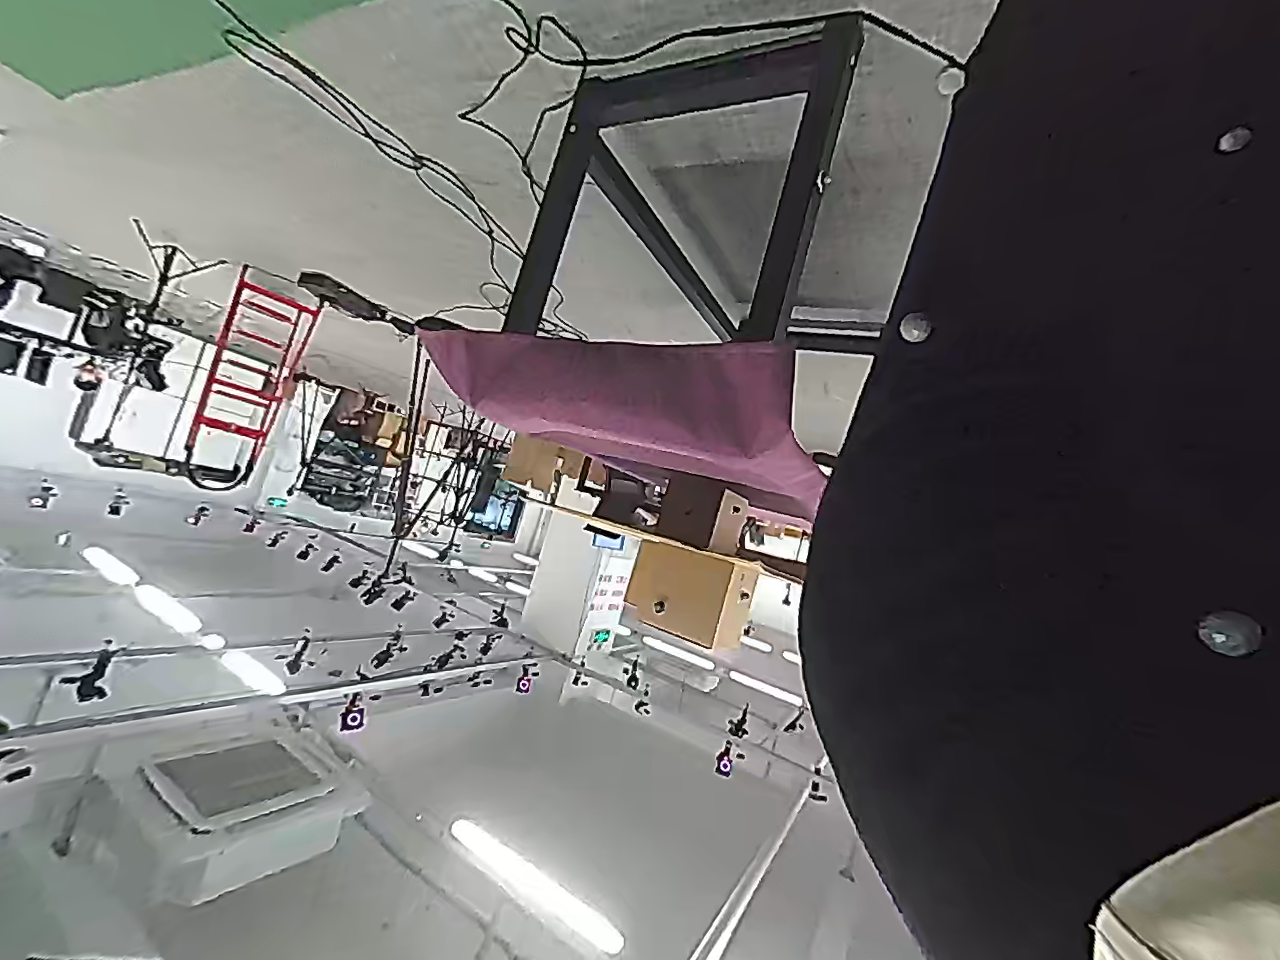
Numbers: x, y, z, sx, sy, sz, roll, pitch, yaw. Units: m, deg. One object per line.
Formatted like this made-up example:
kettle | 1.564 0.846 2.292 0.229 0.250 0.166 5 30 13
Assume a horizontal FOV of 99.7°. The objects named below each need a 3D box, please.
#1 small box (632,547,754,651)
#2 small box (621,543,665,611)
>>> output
small box | 0.115 0.242 1.118 0.179 0.176 0.168 12 172 31
small box | 0.081 0.268 1.380 0.179 0.176 0.168 14 171 32
